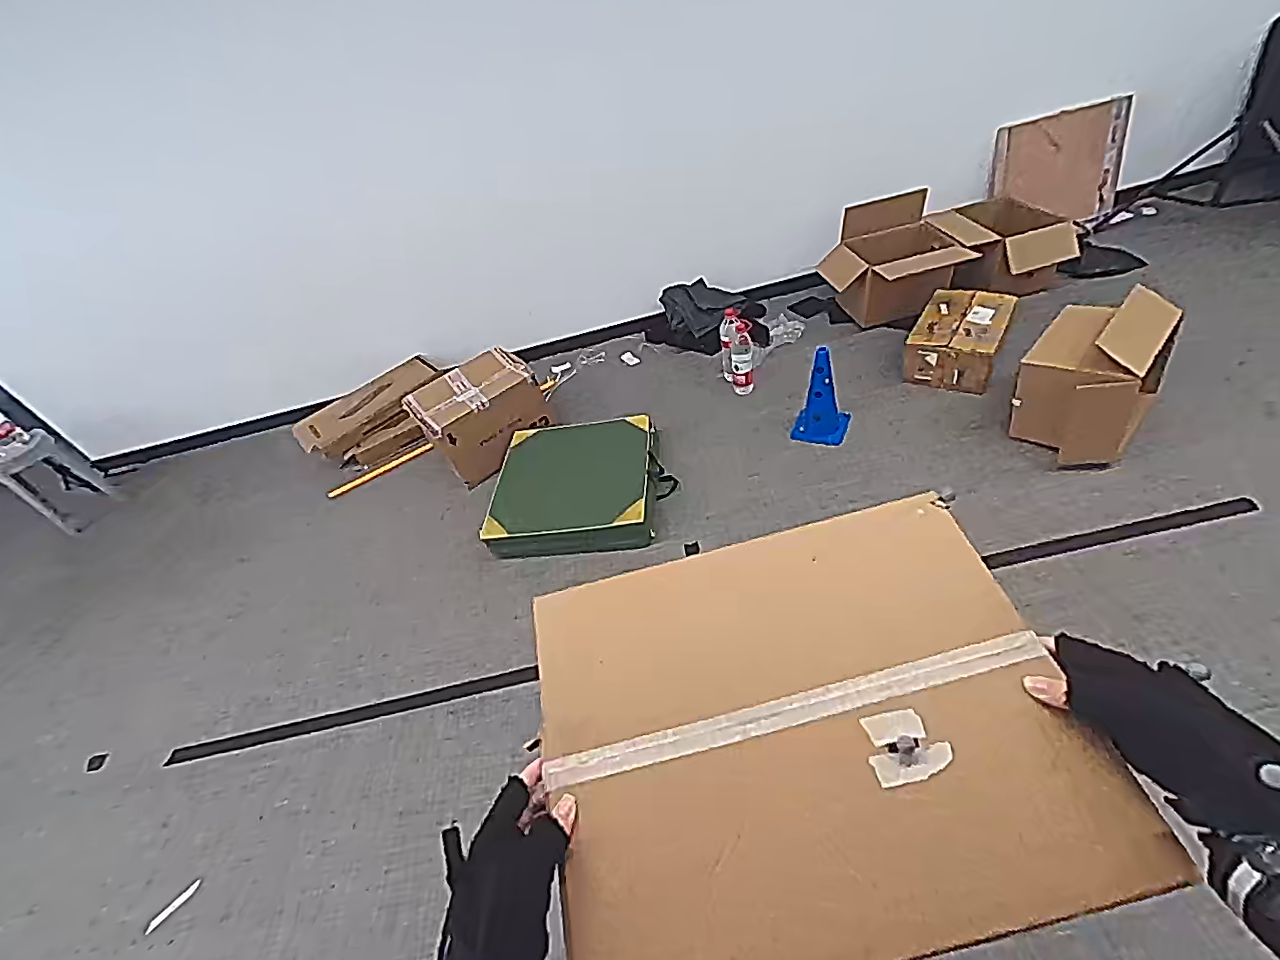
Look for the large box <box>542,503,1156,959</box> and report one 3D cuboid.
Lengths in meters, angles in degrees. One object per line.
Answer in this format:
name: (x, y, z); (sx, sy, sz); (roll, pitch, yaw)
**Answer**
large box: (0.147, 0.280, 0.565); (0.408, 0.320, 0.320); (-15, 53, 0)
